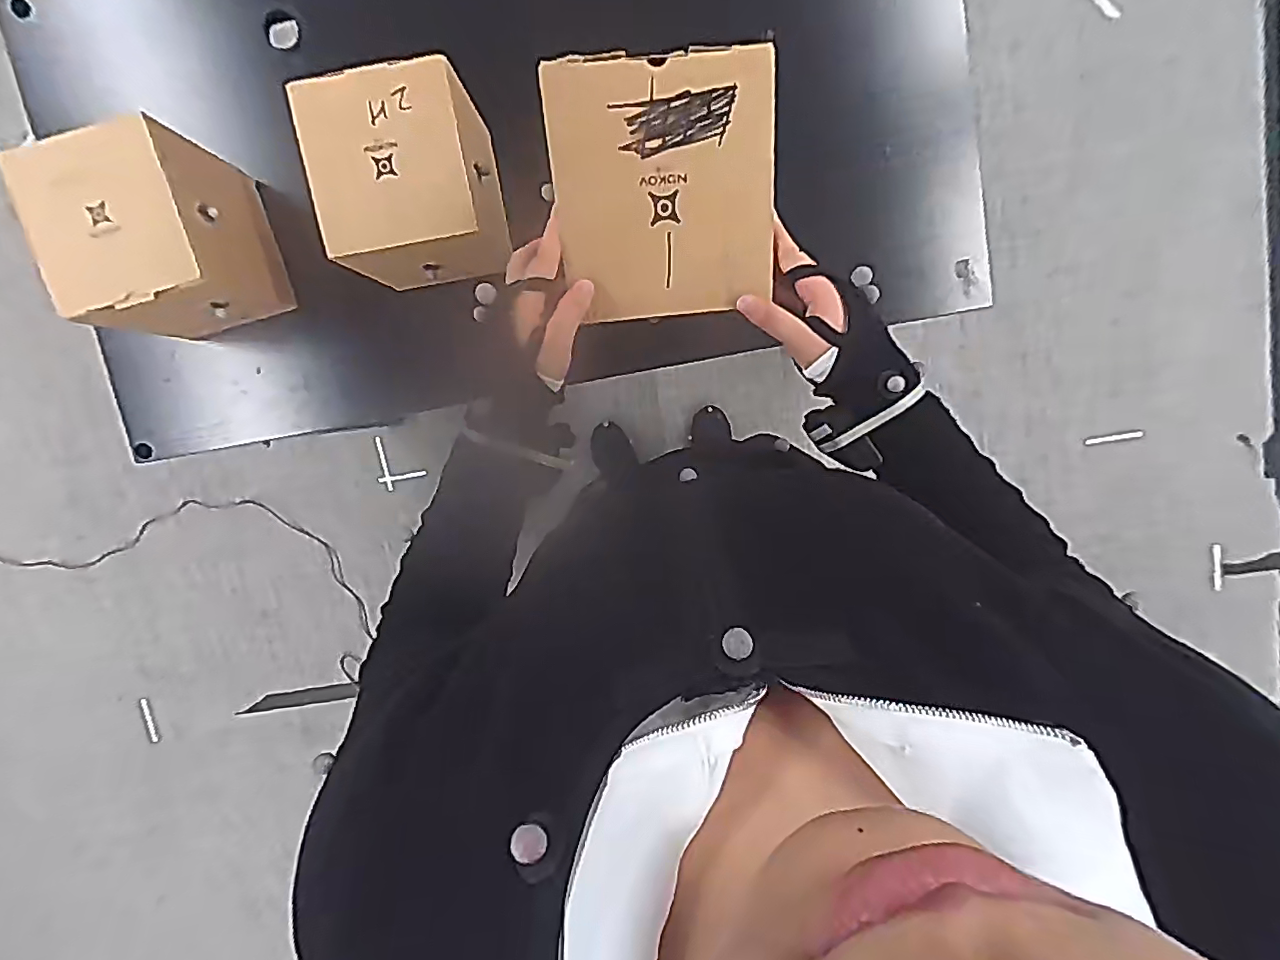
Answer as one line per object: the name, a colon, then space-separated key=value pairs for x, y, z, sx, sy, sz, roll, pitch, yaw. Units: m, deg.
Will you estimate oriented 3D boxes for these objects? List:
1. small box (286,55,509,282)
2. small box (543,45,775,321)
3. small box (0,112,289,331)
small box: x=-0.264 y=-0.342 z=0.634 sx=0.168 sy=0.176 sz=0.179 roll=-9 pitch=98 yaw=1
small box: x=0.013 y=-0.244 z=0.476 sx=0.168 sy=0.176 sz=0.179 roll=-6 pitch=113 yaw=-2
small box: x=-0.566 y=-0.285 z=0.645 sx=0.168 sy=0.176 sz=0.179 roll=-15 pitch=97 yaw=1
